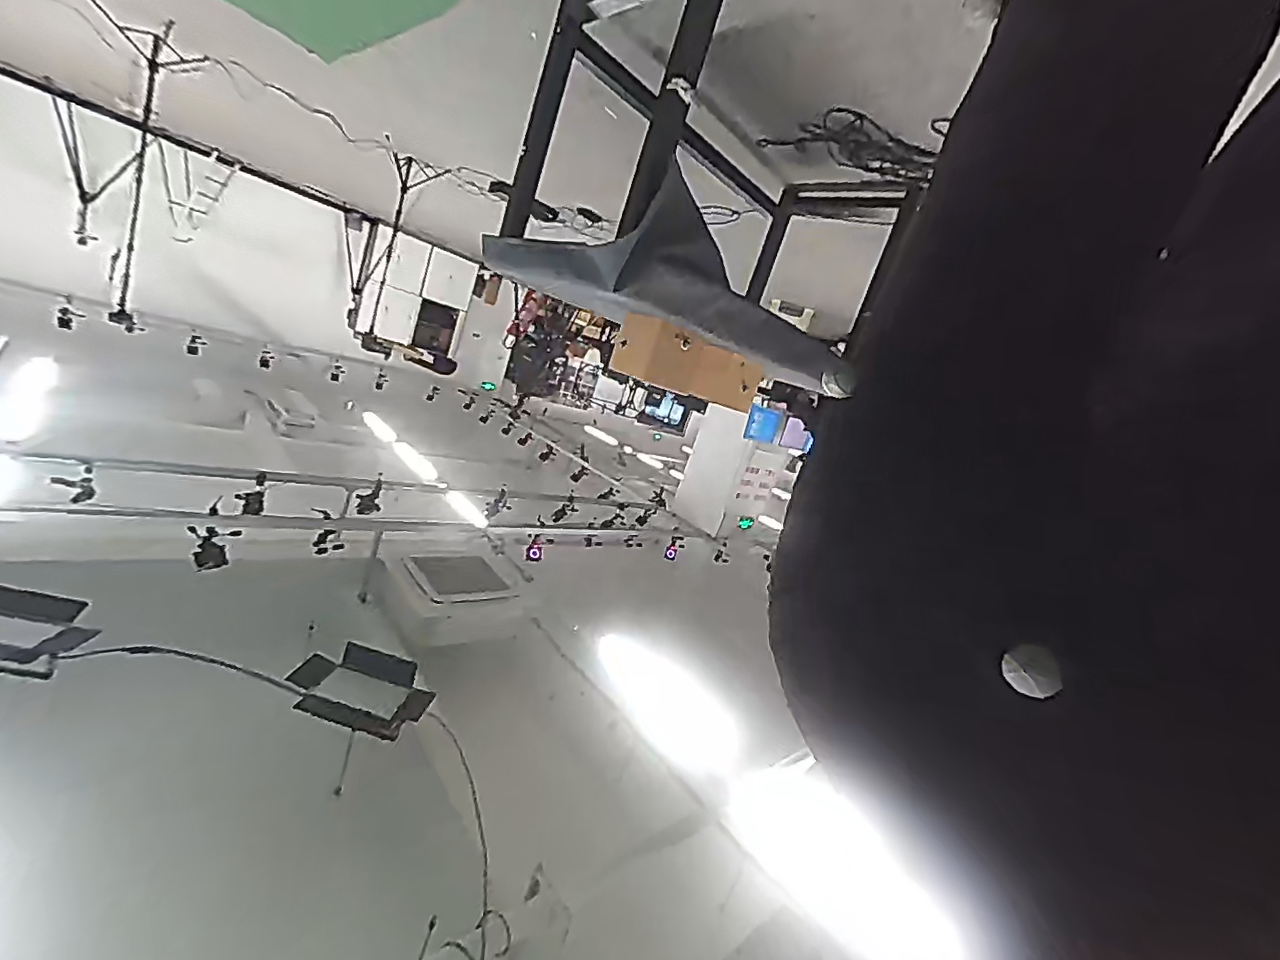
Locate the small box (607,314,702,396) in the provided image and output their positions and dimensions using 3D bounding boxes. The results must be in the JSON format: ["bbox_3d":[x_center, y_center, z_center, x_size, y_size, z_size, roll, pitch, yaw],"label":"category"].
[{"bbox_3d":[0.041,-0.343,1.467,0.168,0.176,0.179,8,-165,-39],"label":"small box"}]

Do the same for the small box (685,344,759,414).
[{"bbox_3d":[0.256,-0.322,1.712,0.168,0.176,0.179,9,-164,-41],"label":"small box"}]
